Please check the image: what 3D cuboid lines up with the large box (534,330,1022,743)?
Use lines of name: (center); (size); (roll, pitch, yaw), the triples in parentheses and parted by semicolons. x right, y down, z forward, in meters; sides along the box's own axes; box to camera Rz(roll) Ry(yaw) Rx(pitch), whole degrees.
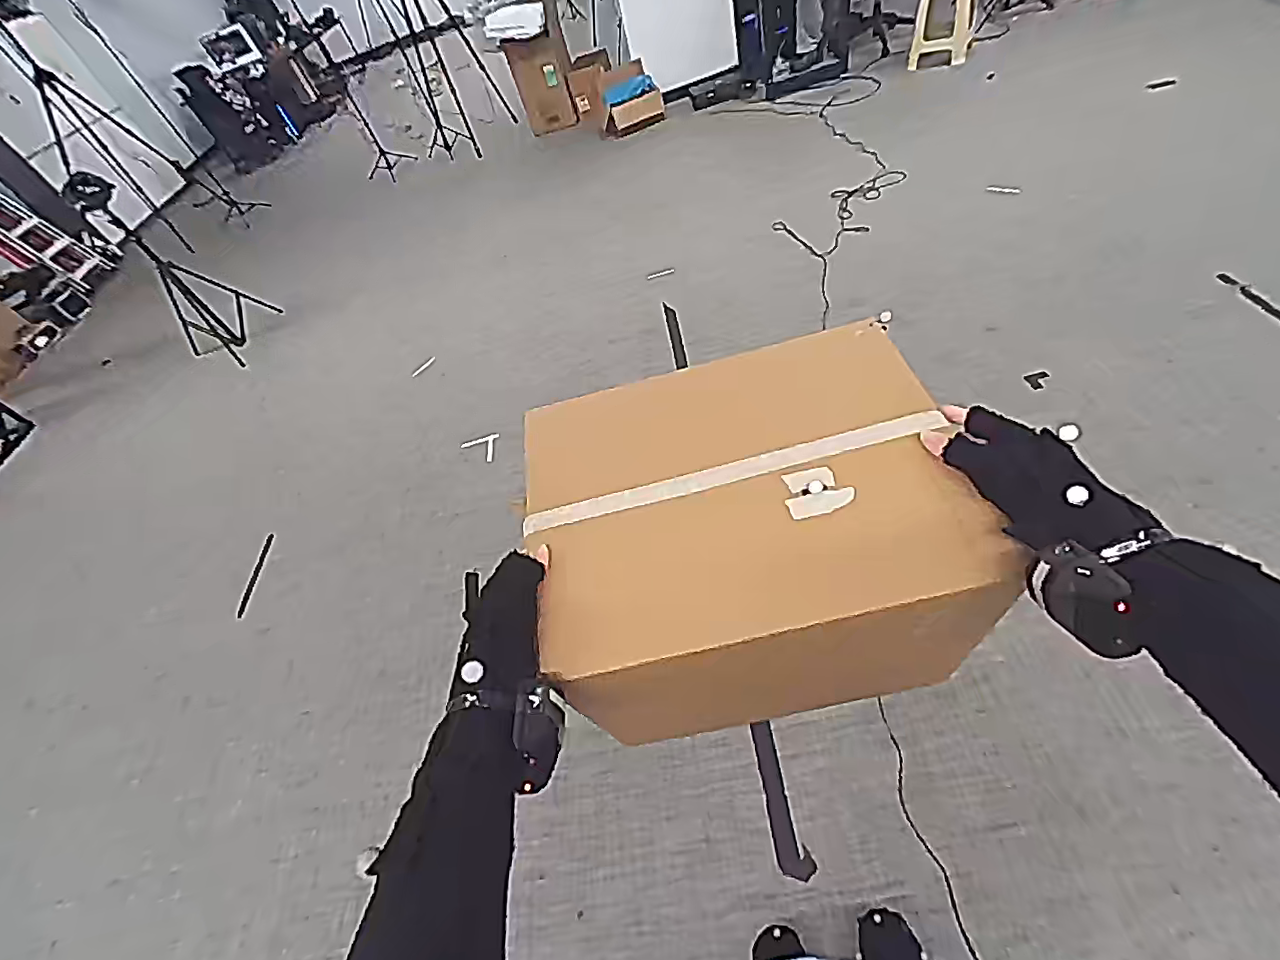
large box: (0.120, 0.084, 0.648); (0.408, 0.320, 0.320); (-14, 54, 4)
